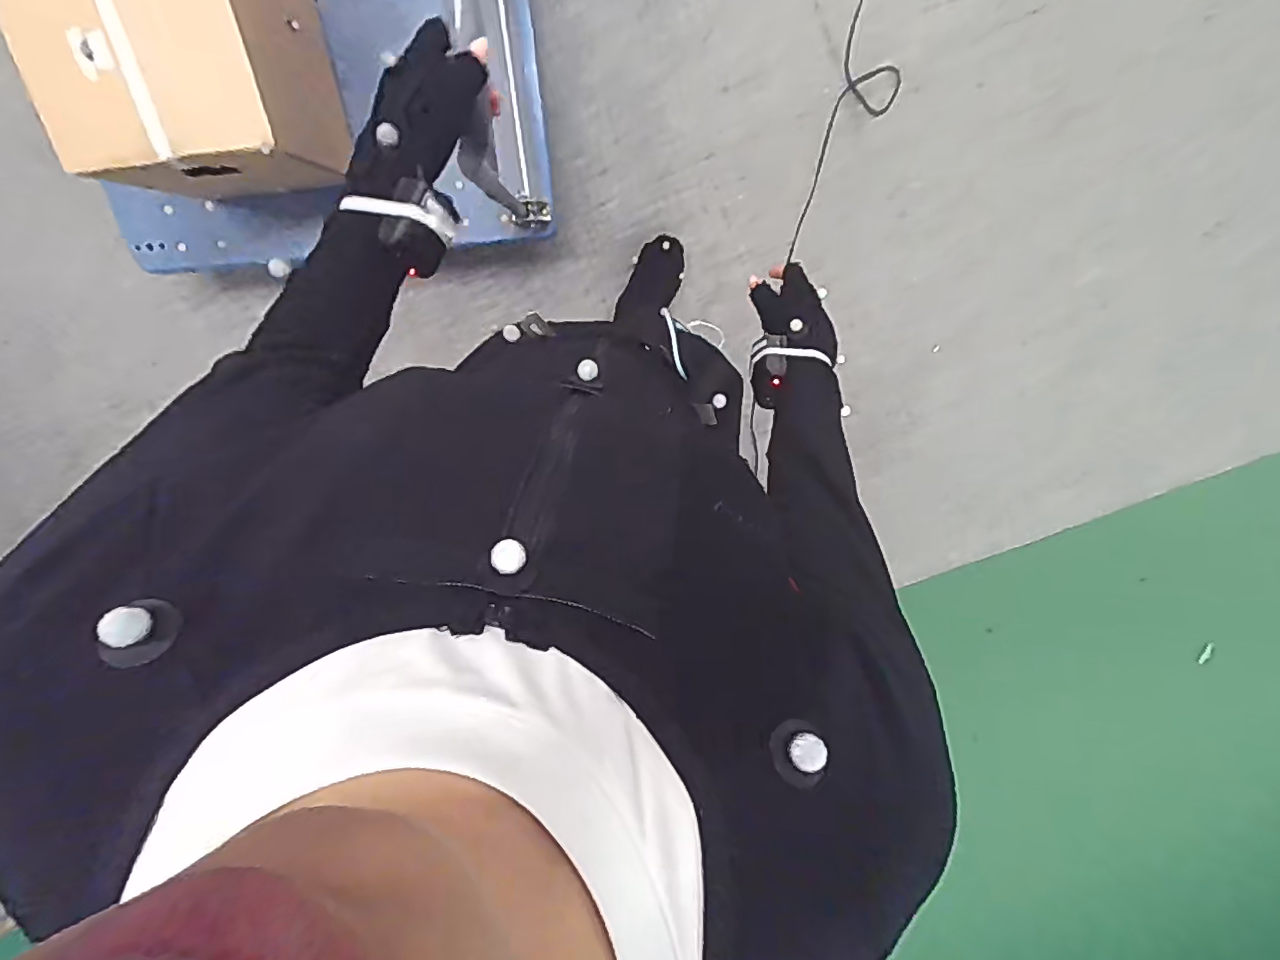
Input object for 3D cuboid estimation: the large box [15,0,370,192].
[{"bbox_3d":[-0.698,-0.719,0.863,0.320,0.320,0.408,-8,112,0],"label":"large box"}]
